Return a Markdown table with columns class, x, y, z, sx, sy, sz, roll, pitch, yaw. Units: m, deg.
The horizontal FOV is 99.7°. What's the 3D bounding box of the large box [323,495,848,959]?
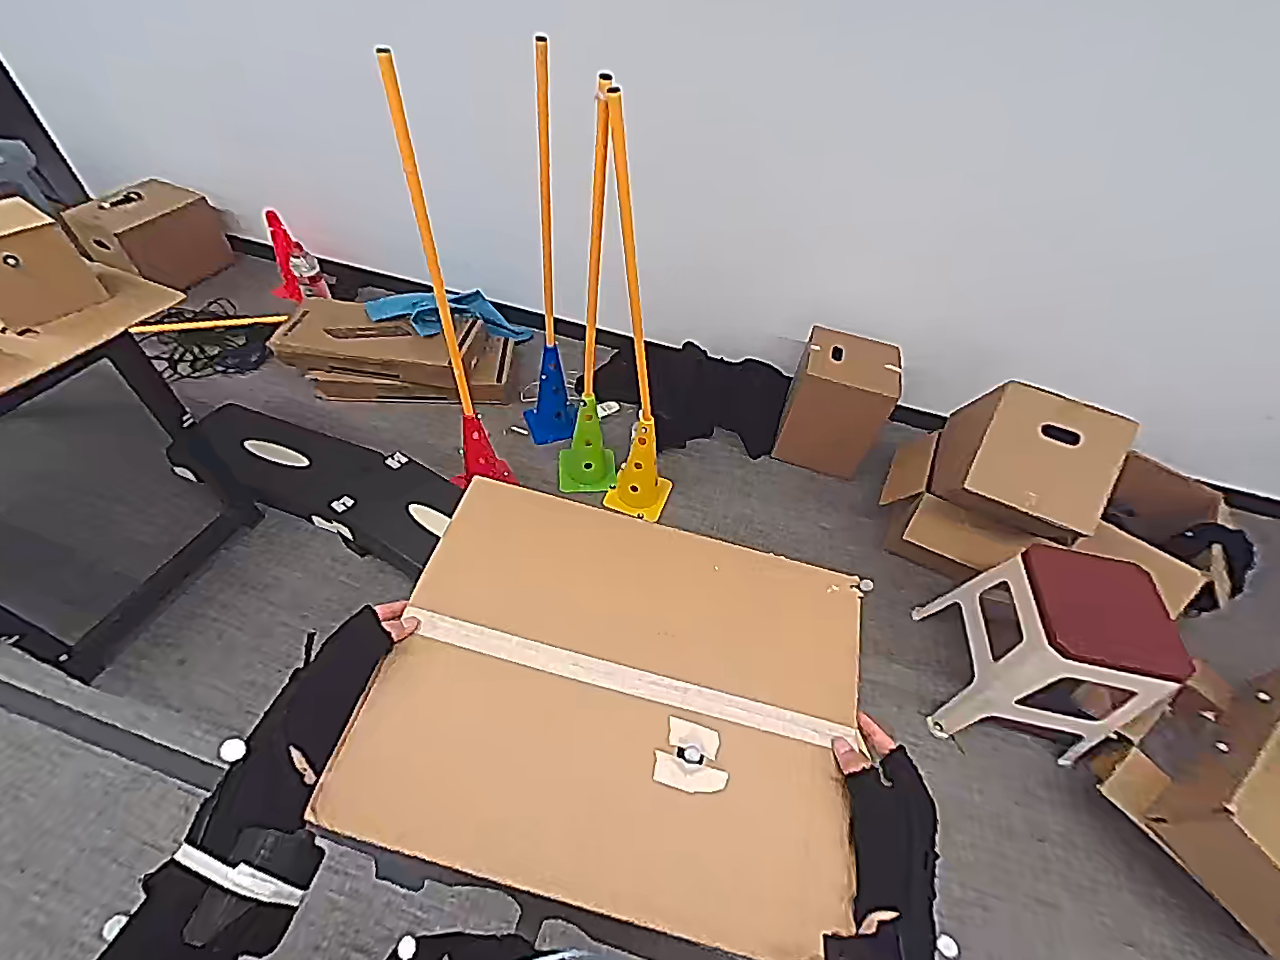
| class | x | y | z | sx | sy | sz | roll | pitch | yaw |
| --- | --- | --- | --- | --- | --- | --- | --- | --- | --- |
| large box | -0.032 | 0.265 | 0.600 | 0.408 | 0.320 | 0.320 | 16 | 57 | 2 |
